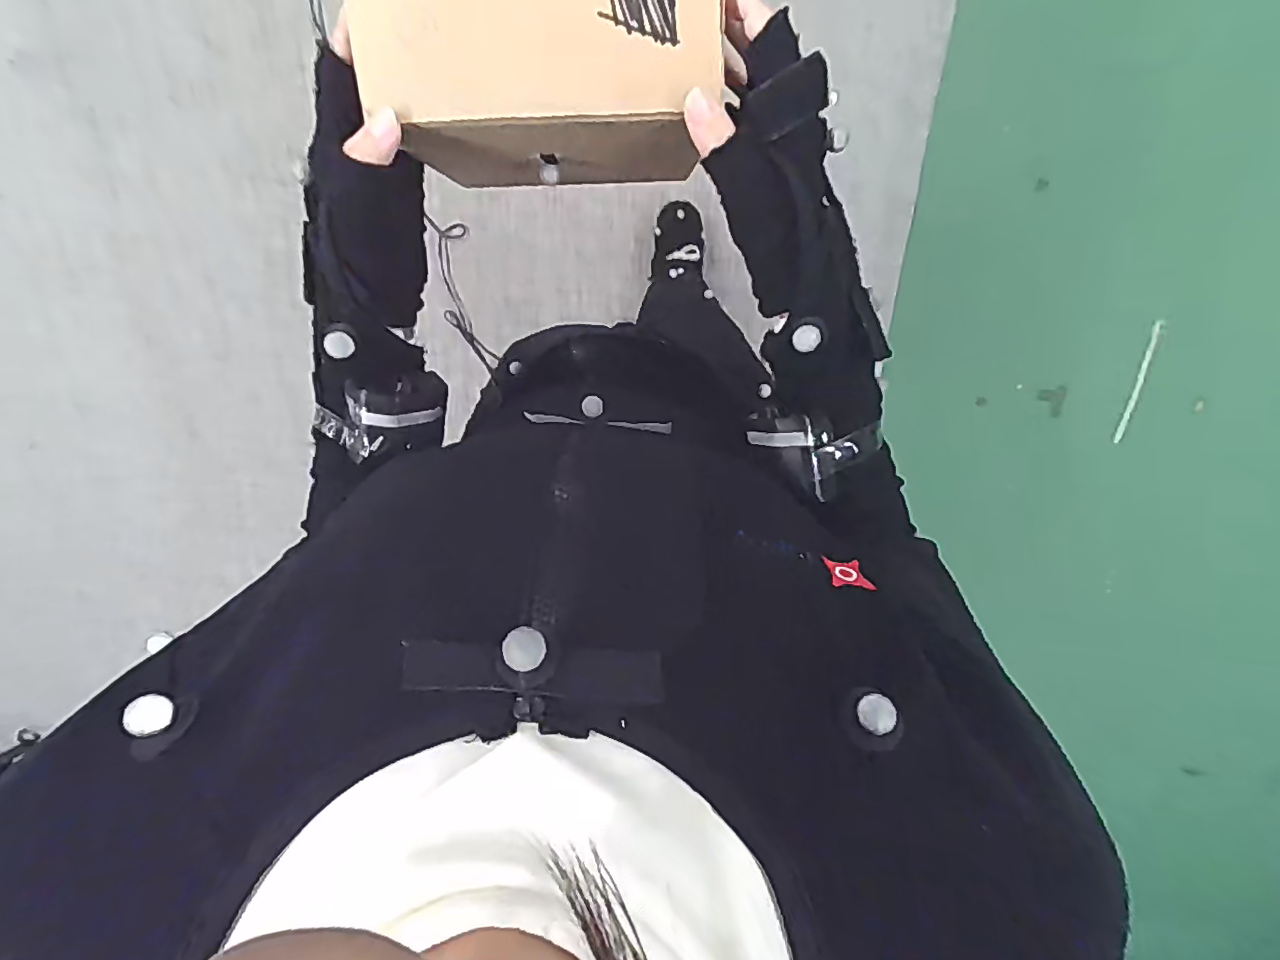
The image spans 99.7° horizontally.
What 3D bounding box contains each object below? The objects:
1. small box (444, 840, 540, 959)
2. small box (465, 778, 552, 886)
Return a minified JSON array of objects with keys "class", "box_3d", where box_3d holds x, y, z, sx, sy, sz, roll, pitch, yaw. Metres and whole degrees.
[{"class":"small box","box_3d":[-0.320,0.933,1.199,0.168,0.176,0.179,-1,107,0]},{"class":"small box","box_3d":[-0.319,0.875,1.352,0.179,0.176,0.168,-1,108,1]}]
